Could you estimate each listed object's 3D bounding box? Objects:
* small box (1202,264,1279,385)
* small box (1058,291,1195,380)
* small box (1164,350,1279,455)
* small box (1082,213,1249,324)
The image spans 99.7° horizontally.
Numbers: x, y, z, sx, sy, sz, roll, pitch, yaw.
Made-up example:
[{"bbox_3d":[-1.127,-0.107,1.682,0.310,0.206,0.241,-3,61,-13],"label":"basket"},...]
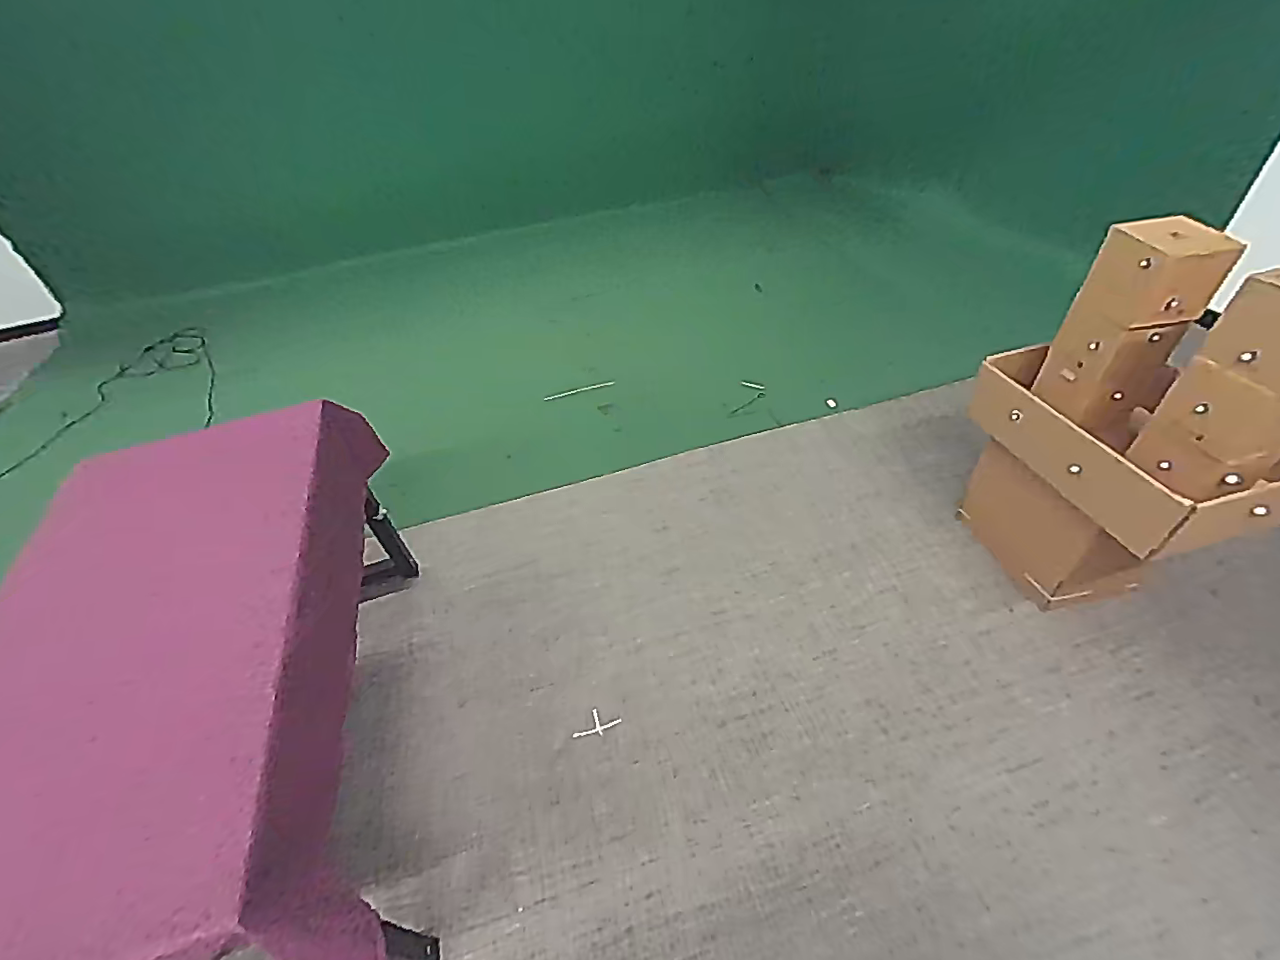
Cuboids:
[{"bbox_3d":[1.237,-0.291,1.003,0.168,0.176,0.179,-14,44,-5],"label":"small box"},{"bbox_3d":[1.180,-0.363,1.331,0.179,0.176,0.168,-10,45,-3],"label":"small box"},{"bbox_3d":[1.253,-0.174,1.117,0.179,0.176,0.168,-14,44,-5],"label":"small box"},{"bbox_3d":[1.159,-0.474,1.215,0.168,0.176,0.179,-9,46,0],"label":"small box"}]
